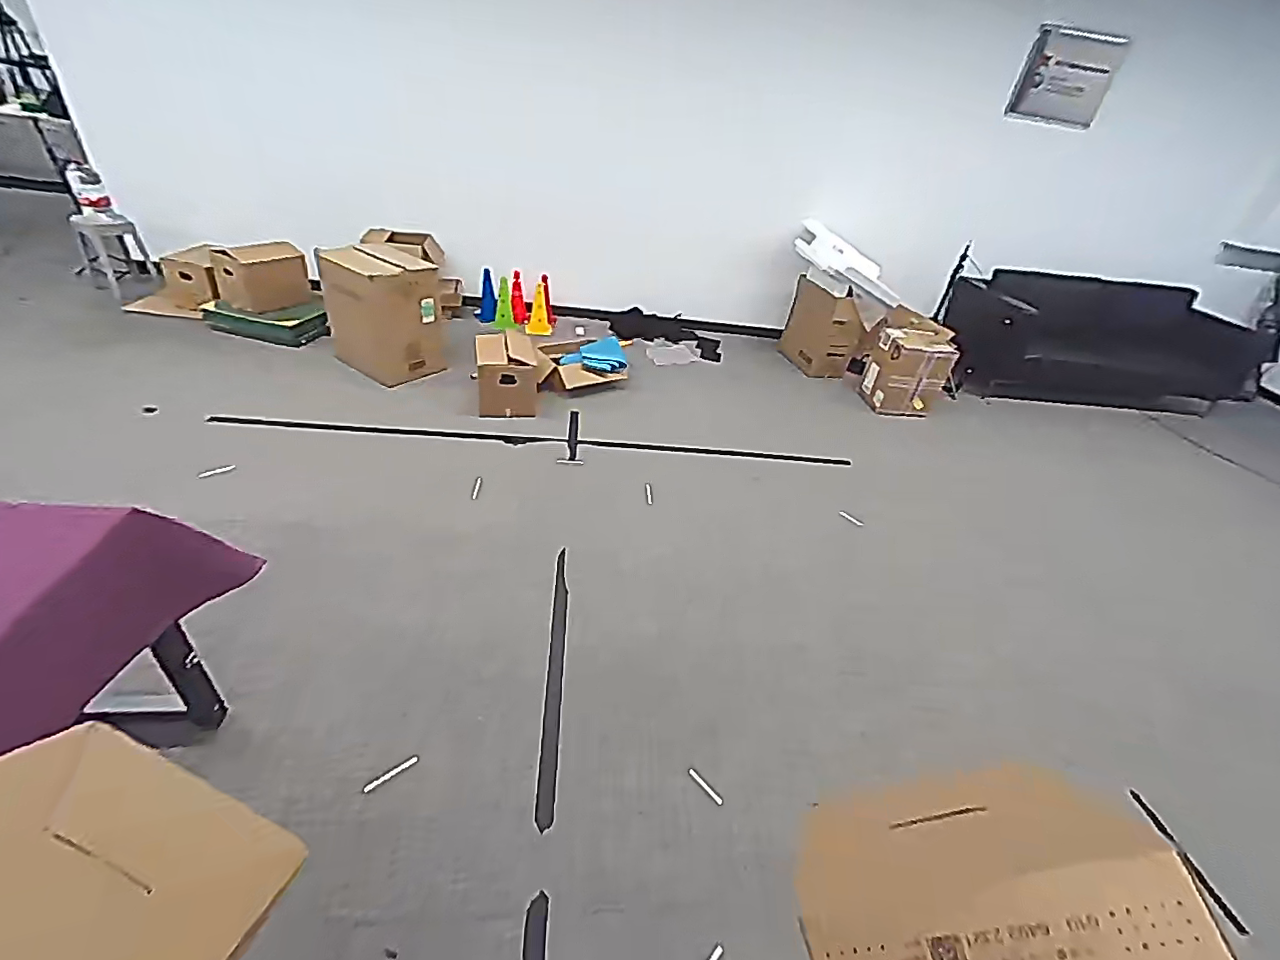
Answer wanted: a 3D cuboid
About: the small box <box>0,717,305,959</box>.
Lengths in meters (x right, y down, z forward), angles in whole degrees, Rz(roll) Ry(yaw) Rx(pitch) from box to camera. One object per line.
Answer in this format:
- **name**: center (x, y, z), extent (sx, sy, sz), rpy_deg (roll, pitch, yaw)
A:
- **small box**: center (-0.311, 0.243, 0.254), extent (0.168, 0.179, 0.176), rpy_deg (34, 80, -3)
